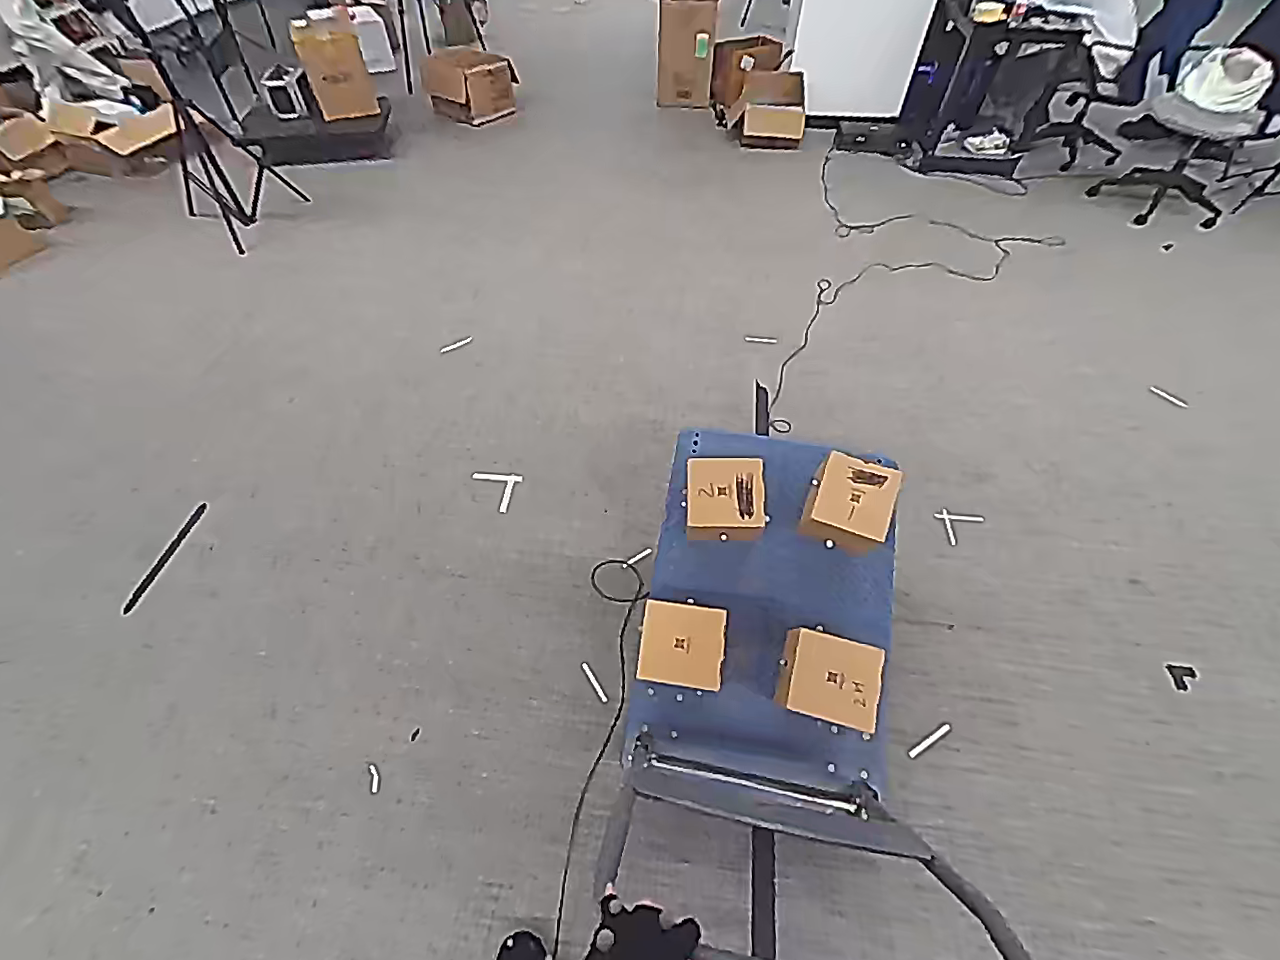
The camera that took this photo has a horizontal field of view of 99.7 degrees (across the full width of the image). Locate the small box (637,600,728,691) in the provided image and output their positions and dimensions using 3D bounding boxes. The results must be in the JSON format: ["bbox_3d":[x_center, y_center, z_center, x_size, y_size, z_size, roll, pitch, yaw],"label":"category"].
[{"bbox_3d":[0.095,0.372,1.211,0.179,0.176,0.168,7,72,5],"label":"small box"}]

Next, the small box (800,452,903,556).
[{"bbox_3d":[0.494,0.062,1.286,0.168,0.176,0.179,20,75,11],"label":"small box"}]

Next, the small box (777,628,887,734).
[{"bbox_3d":[0.405,0.430,1.167,0.179,0.176,0.168,14,73,9],"label":"small box"}]
